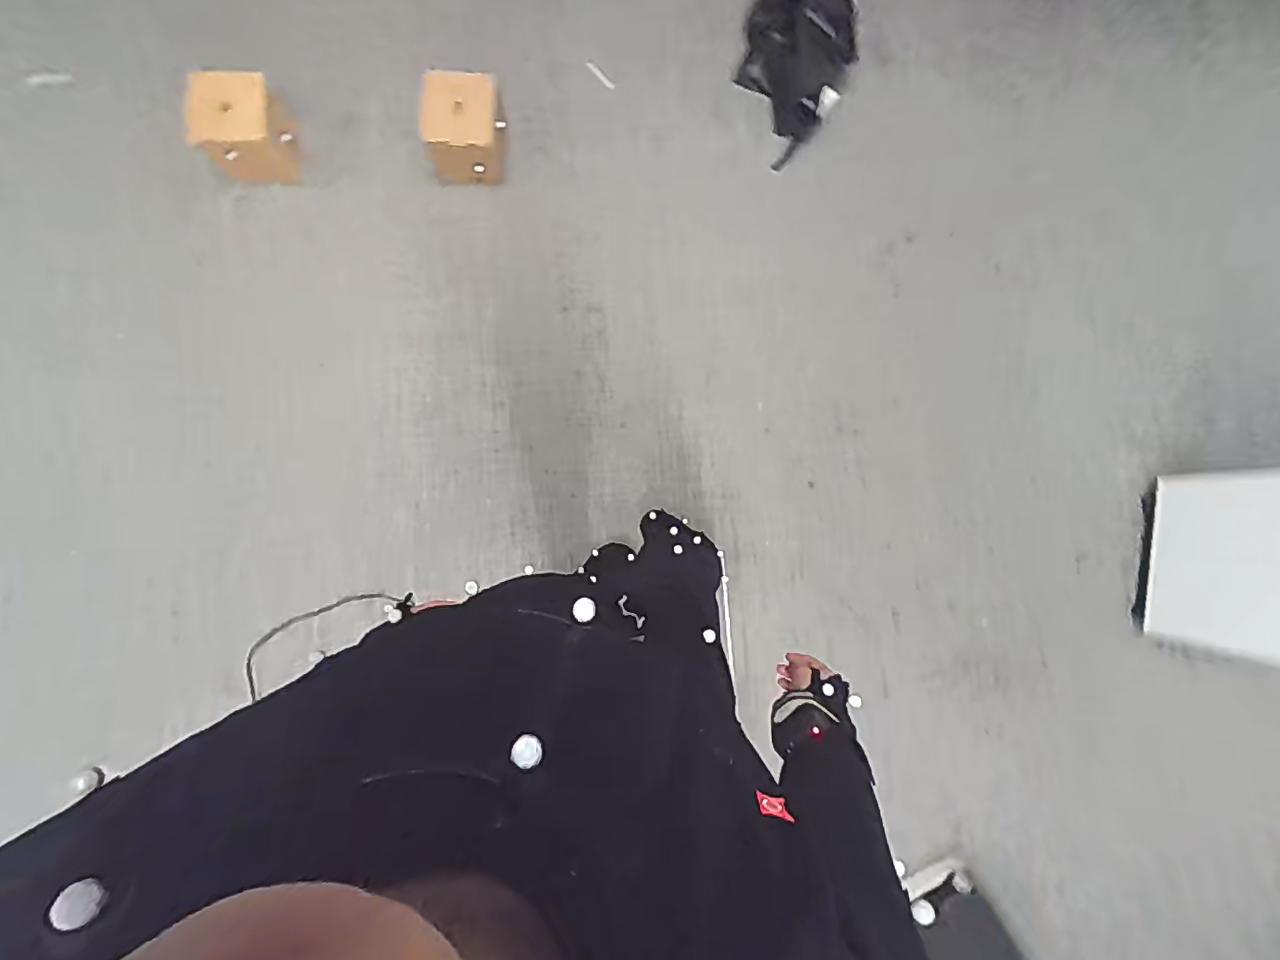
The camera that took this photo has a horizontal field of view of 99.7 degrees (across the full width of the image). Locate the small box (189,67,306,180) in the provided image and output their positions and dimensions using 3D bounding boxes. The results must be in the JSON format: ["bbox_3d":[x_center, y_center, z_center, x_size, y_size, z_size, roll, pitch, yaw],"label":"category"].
[{"bbox_3d":[-0.943,-0.857,1.313,0.179,0.176,0.168,-1,87,-2],"label":"small box"}]

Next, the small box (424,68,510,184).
[{"bbox_3d":[-0.421,-0.864,1.337,0.168,0.176,0.179,2,86,-4],"label":"small box"}]
